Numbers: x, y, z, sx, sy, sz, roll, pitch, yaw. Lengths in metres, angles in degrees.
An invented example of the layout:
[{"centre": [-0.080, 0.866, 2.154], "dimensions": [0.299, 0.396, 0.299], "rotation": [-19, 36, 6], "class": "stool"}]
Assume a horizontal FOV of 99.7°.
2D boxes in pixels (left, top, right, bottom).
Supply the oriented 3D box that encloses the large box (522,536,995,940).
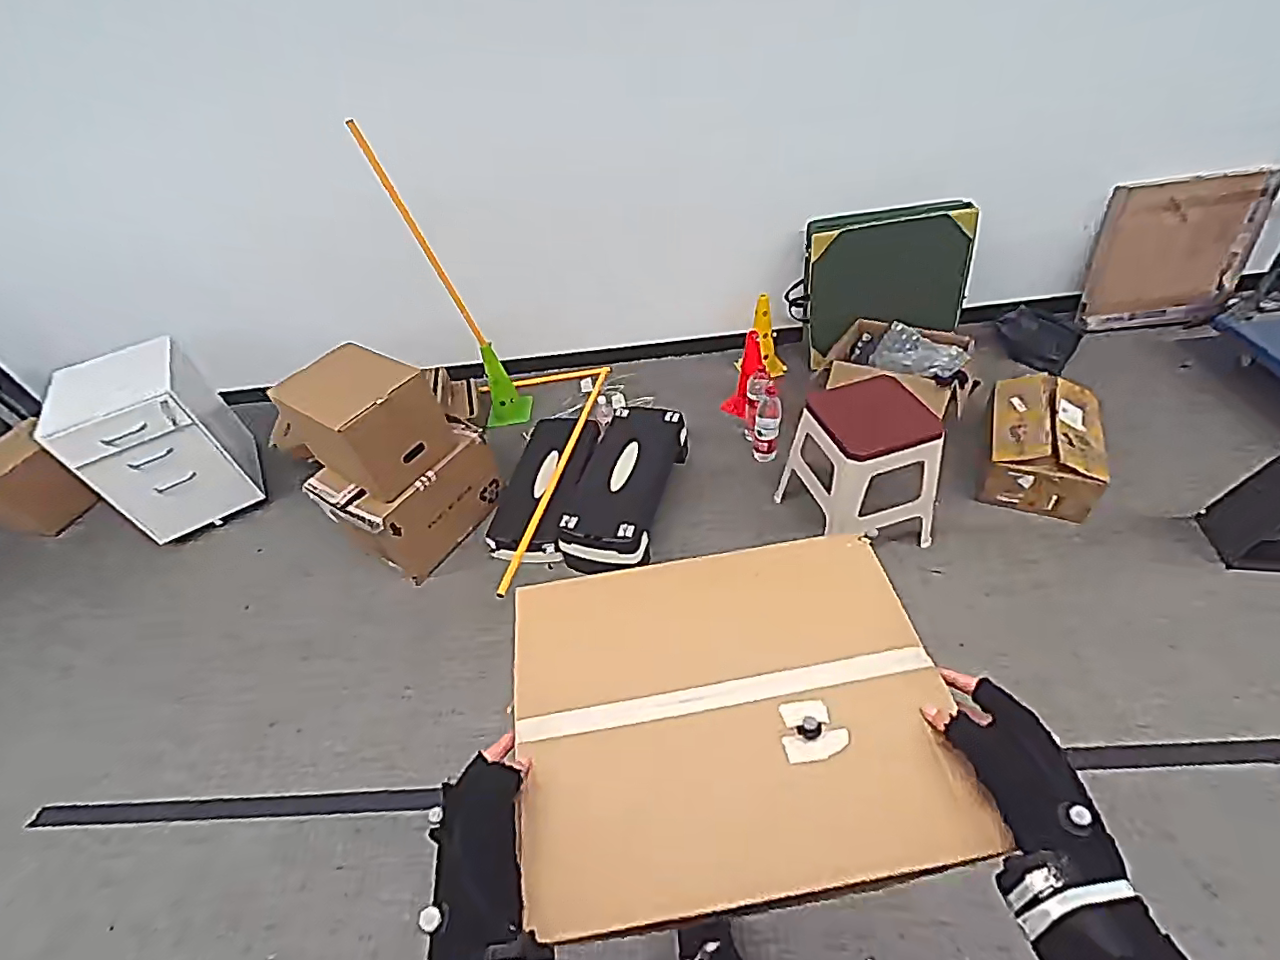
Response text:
[{"centre": [0.091, 0.310, 0.648], "dimensions": [0.408, 0.320, 0.320], "rotation": [-9, 49, -2], "class": "large box"}]
